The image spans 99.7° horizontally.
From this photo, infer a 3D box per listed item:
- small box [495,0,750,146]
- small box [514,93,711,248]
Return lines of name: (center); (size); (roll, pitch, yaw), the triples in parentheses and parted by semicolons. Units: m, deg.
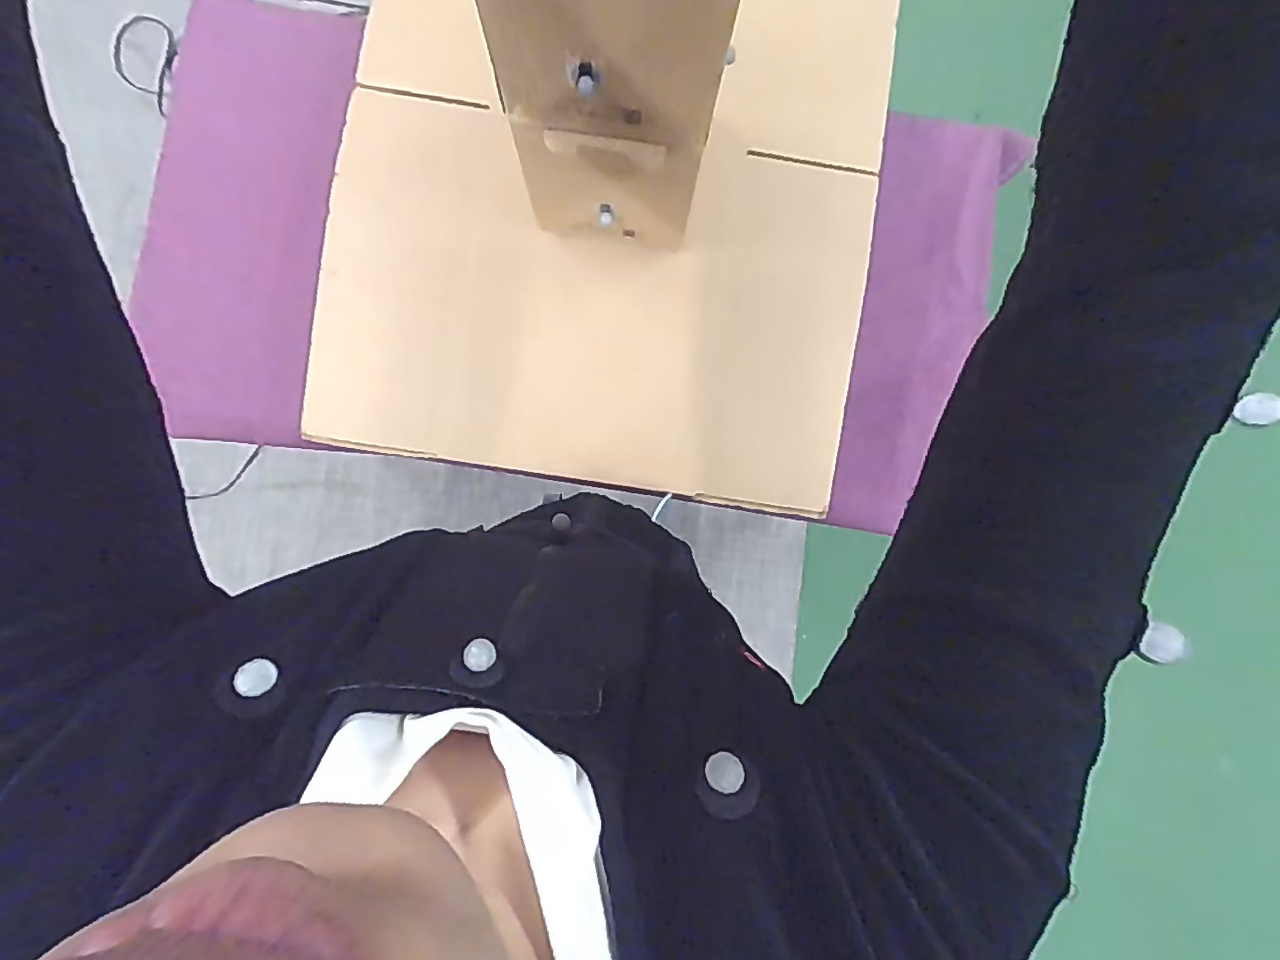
small box: (-0.008, -0.375, 0.368); (0.168, 0.176, 0.179); (7, 86, -3)
small box: (-0.015, -0.363, 0.530); (0.168, 0.176, 0.179); (9, 86, -2)
